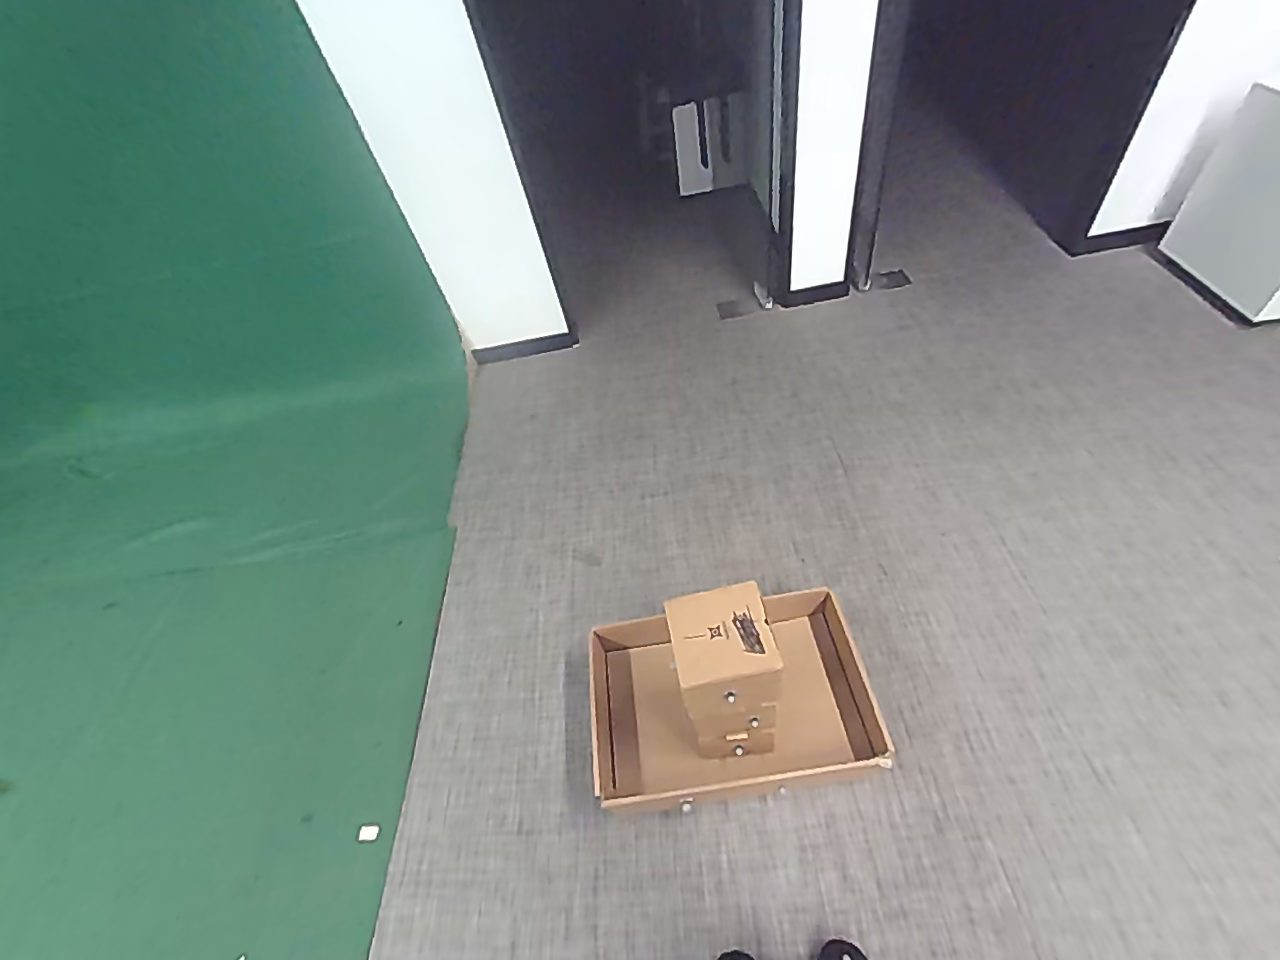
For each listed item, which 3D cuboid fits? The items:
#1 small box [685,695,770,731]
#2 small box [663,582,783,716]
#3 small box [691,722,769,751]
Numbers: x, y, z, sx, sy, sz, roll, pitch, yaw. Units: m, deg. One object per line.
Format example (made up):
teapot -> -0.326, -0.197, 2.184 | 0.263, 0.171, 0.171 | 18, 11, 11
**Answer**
small box -> 0.176, 0.413, 1.133 | 0.168, 0.176, 0.179 | -9, 48, 5
small box -> 0.150, 0.316, 1.003 | 0.179, 0.176, 0.168 | -14, 50, -1
small box -> 0.204, 0.517, 1.254 | 0.168, 0.176, 0.179 | -9, 50, 6
